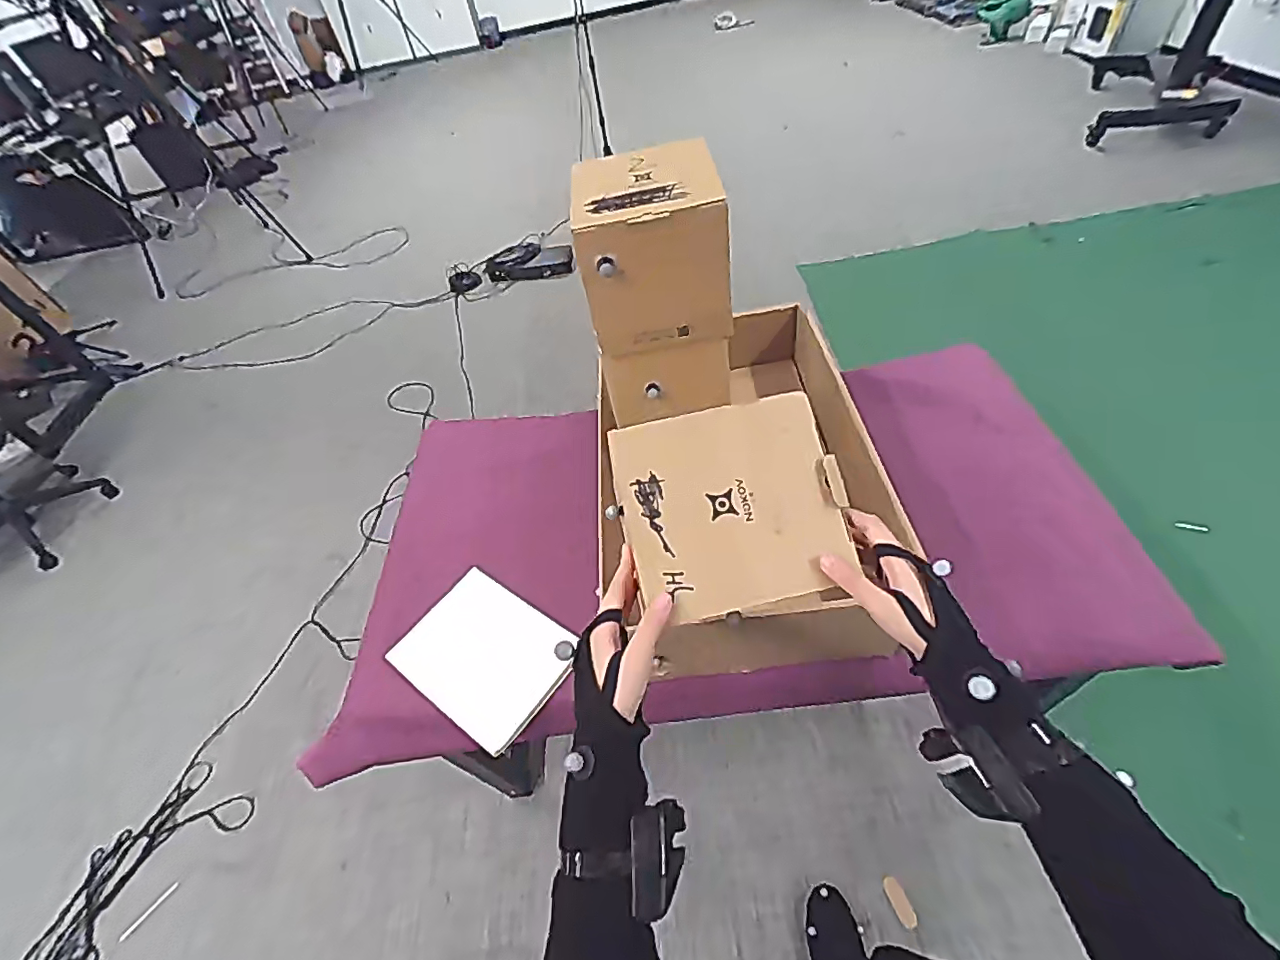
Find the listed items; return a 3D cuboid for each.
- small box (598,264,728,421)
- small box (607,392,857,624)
[{"bbox_3d":[0.037,-0.187,0.799,0.168,0.176,0.179,-7,50,6],"label":"small box"},{"bbox_3d":[0.068,0.036,0.511,0.179,0.176,0.168,-11,75,-4],"label":"small box"}]
